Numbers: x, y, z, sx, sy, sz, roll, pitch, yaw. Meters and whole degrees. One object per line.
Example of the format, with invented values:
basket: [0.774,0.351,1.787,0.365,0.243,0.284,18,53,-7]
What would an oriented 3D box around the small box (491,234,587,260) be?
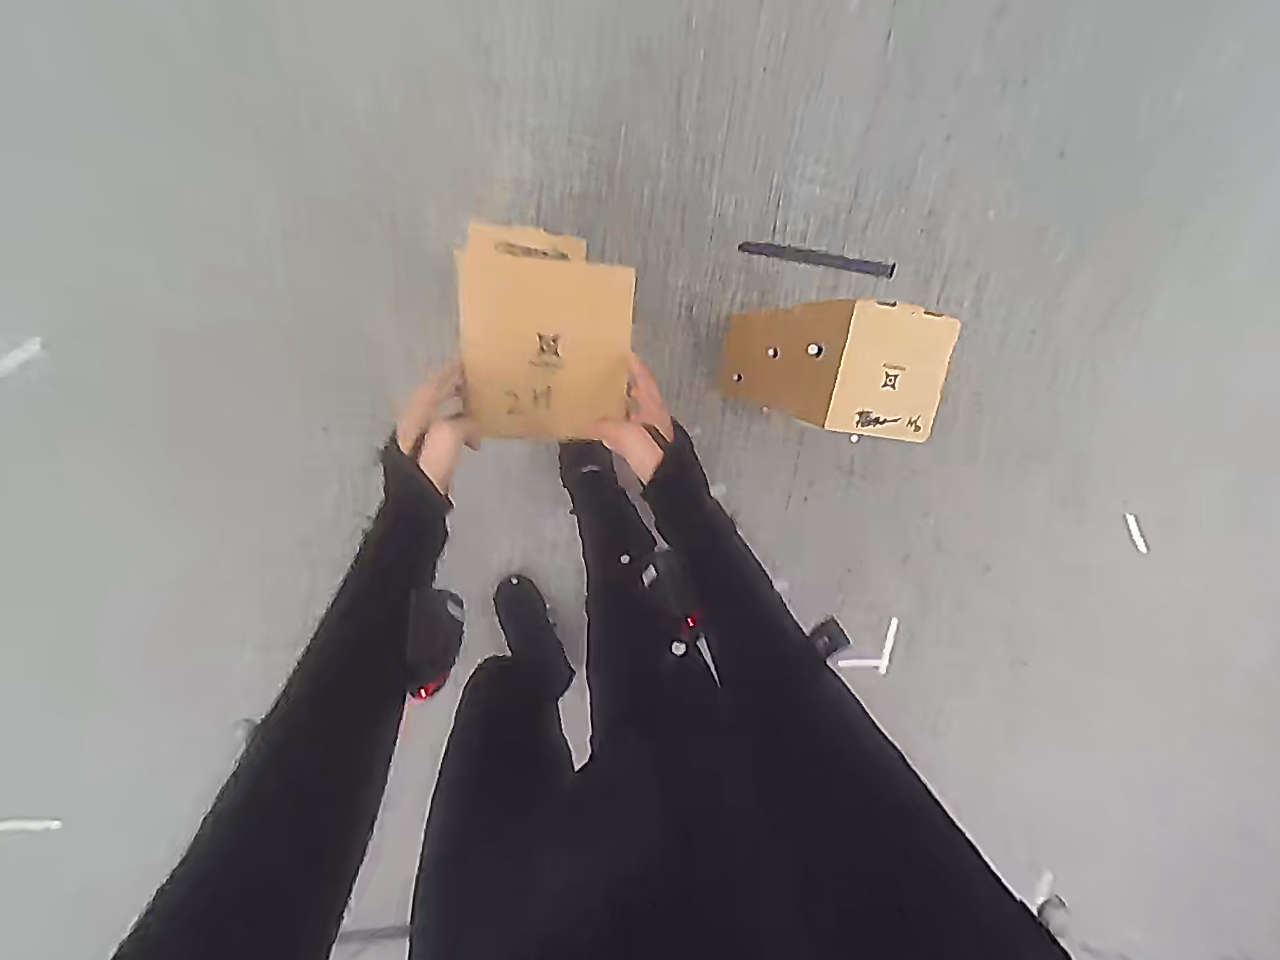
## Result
small box: [-0.194,-0.344,1.017,0.168,0.176,0.179,4,104,-10]

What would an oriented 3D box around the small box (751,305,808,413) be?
small box: [0.314,-0.207,0.973,0.168,0.176,0.179,7,103,-13]

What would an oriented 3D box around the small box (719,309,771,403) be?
small box: [0.279,-0.249,1.128,0.168,0.176,0.179,8,104,-12]

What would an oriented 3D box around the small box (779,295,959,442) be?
small box: [0.329,-0.167,0.813,0.168,0.176,0.179,7,103,-12]

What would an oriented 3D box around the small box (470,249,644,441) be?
small box: [-0.099,-0.152,0.603,0.168,0.176,0.179,1,110,-12]
